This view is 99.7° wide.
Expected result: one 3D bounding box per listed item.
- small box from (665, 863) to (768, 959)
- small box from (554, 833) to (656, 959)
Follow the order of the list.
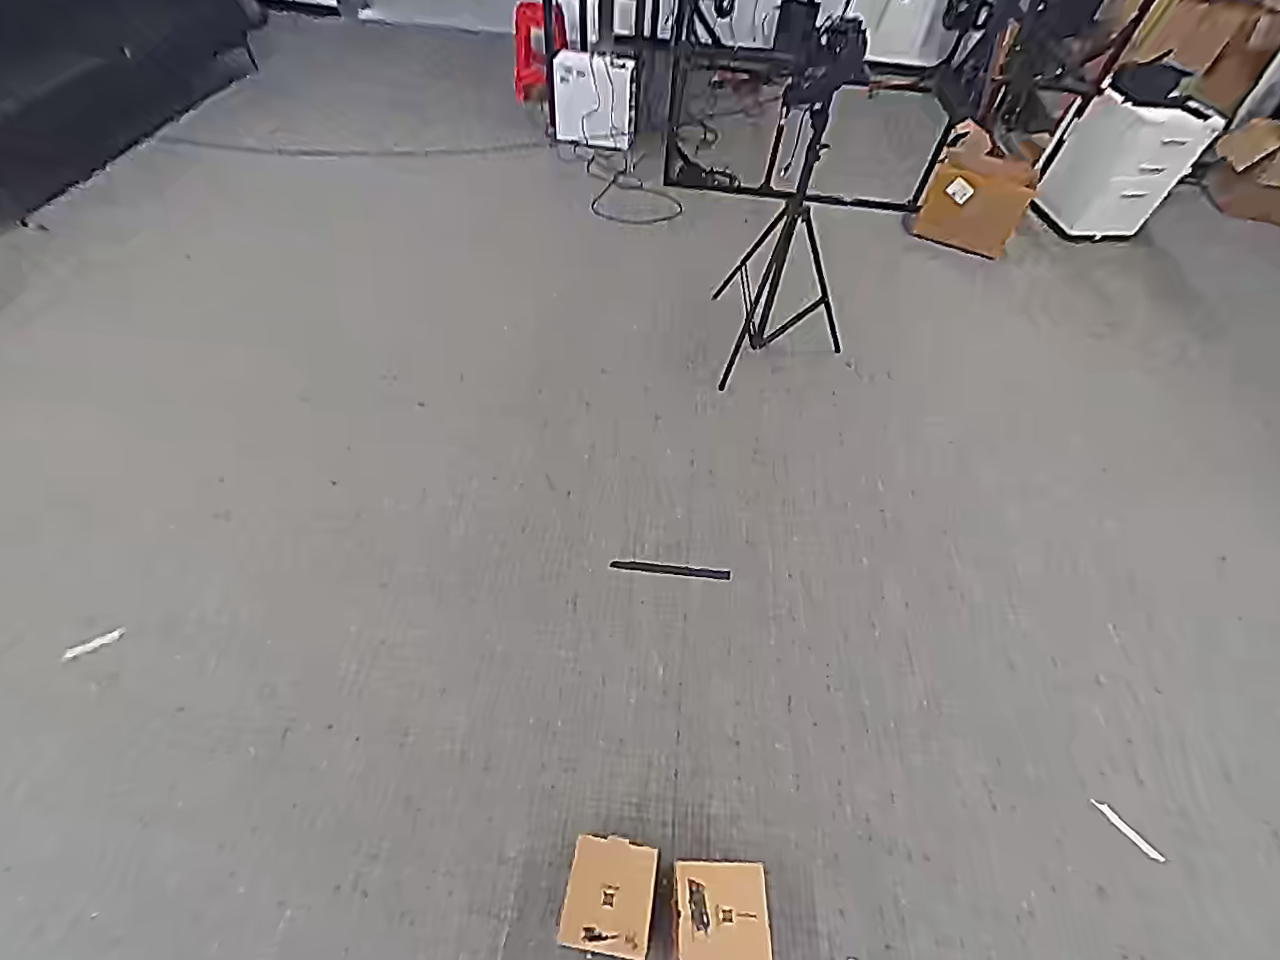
[{"bbox_3d":[0.144,0.875,1.082,0.179,0.176,0.168,4,53,-3],"label":"small box"},{"bbox_3d":[-0.068,0.841,1.091,0.168,0.176,0.179,10,52,4],"label":"small box"}]
